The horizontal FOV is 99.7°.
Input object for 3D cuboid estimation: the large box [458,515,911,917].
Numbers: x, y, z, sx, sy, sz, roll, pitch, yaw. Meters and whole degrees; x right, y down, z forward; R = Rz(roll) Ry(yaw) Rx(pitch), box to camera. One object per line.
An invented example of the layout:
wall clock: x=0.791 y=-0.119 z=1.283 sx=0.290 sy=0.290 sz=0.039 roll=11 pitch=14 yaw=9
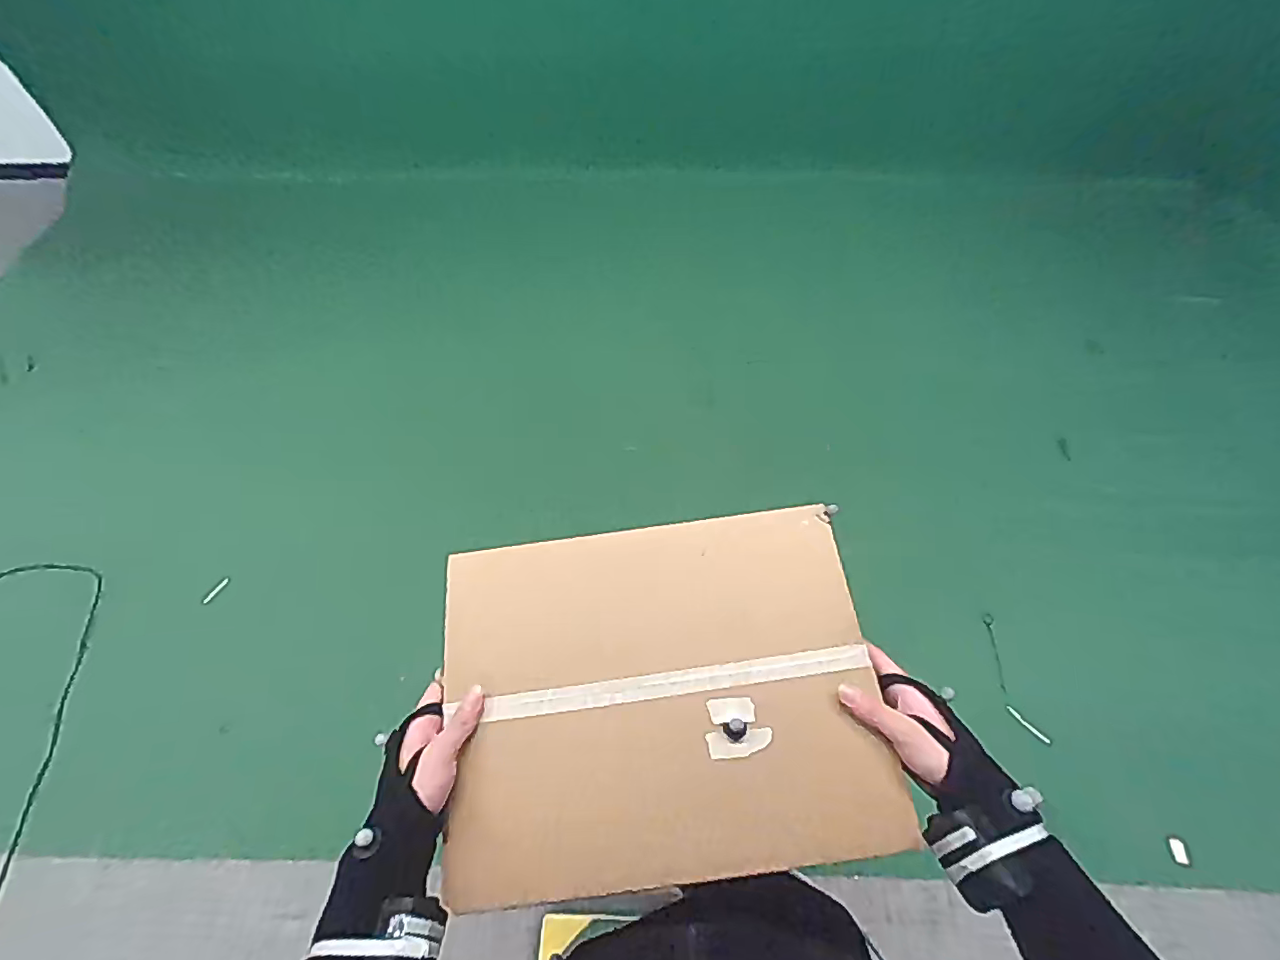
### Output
large box: x=0.026 y=0.268 z=0.659 sx=0.408 sy=0.320 sz=0.320 roll=-8 pitch=66 yaw=-1
